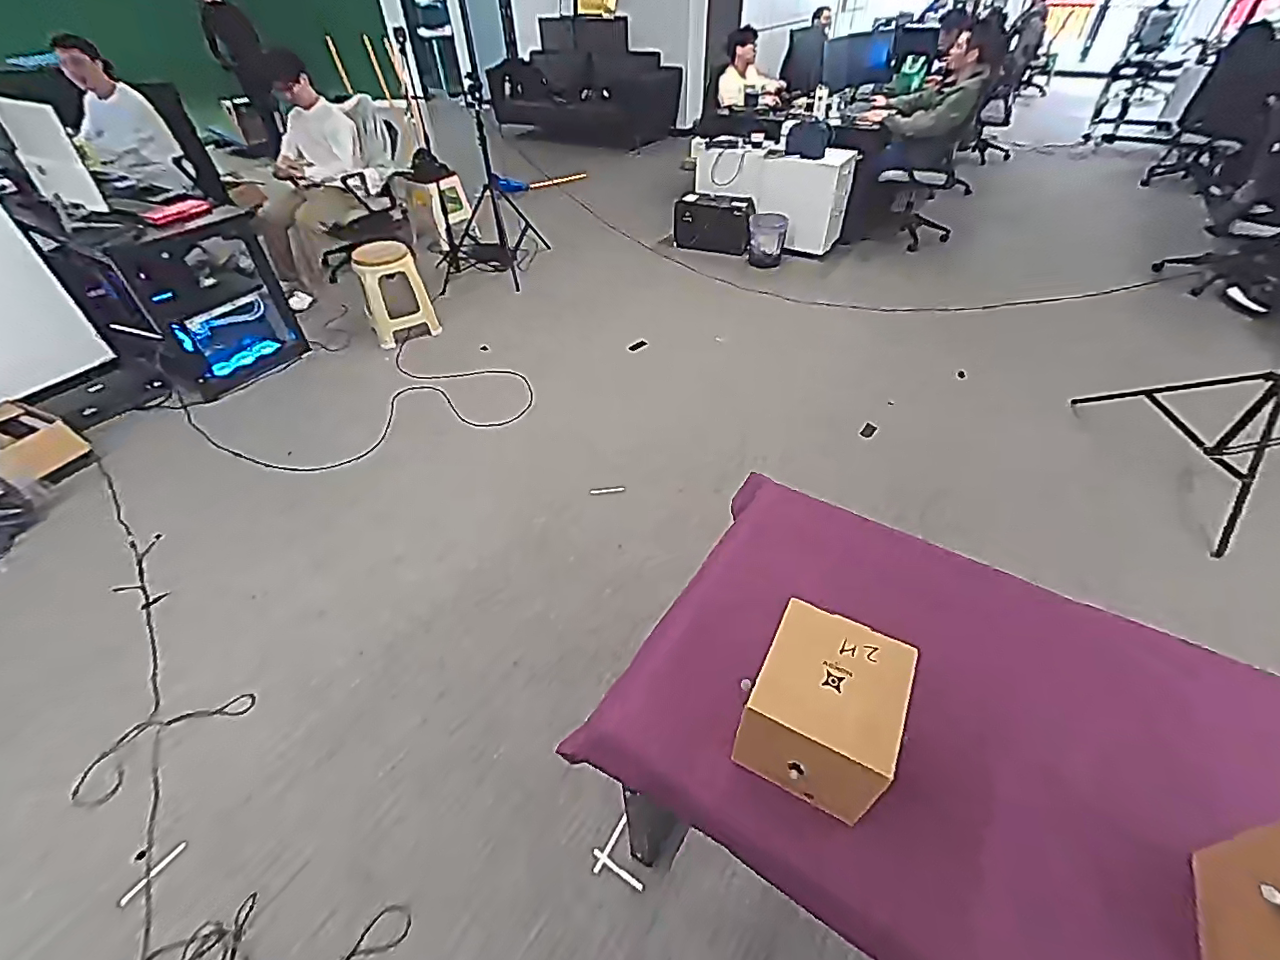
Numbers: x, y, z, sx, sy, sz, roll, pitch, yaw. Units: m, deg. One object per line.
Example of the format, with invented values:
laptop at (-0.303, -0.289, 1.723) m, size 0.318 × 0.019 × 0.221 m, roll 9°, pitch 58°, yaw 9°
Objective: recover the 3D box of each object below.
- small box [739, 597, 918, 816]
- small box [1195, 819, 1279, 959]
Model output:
small box at (0.237, 0.295, 0.705) m, size 0.168 × 0.176 × 0.179 m, roll 21°, pitch 47°, yaw 21°
small box at (0.687, 0.470, 0.513) m, size 0.168 × 0.176 × 0.179 m, roll 23°, pitch 48°, yaw 24°
